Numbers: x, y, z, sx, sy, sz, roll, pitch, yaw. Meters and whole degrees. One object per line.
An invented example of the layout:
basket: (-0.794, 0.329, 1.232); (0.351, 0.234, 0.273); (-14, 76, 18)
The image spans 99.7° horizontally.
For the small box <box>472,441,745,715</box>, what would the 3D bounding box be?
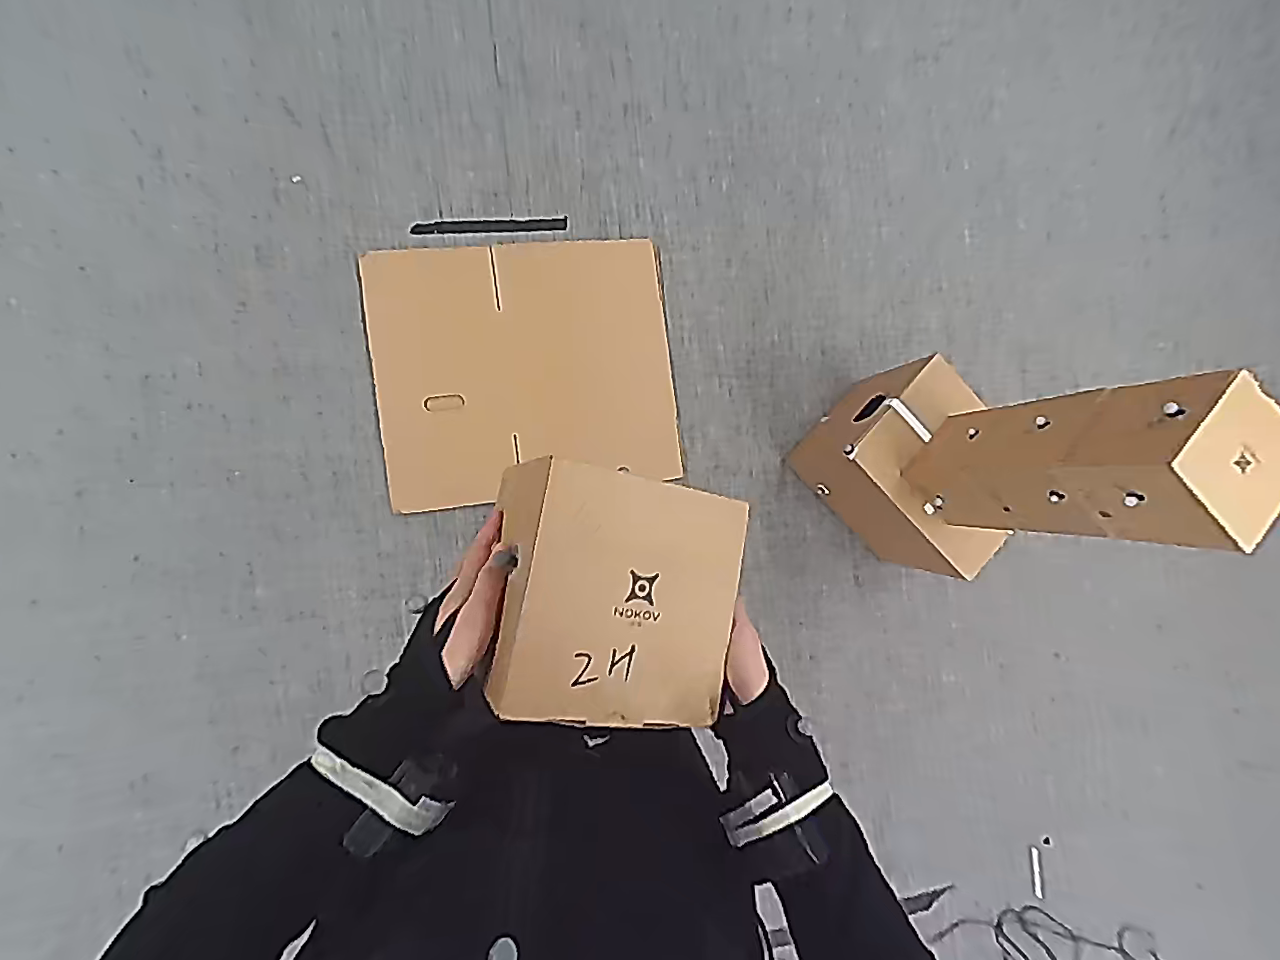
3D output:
small box: (-0.036, 0.080, 0.458); (0.168, 0.176, 0.179); (14, 81, -23)

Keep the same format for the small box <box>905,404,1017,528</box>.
small box: (0.676, -0.026, 1.079); (0.168, 0.176, 0.179); (44, 83, -7)

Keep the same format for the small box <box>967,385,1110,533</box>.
small box: (0.709, -0.032, 0.919); (0.168, 0.176, 0.179); (44, 81, -7)

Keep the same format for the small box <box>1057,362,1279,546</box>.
small box: (0.740, -0.031, 0.759); (0.168, 0.176, 0.179); (43, 82, -7)
